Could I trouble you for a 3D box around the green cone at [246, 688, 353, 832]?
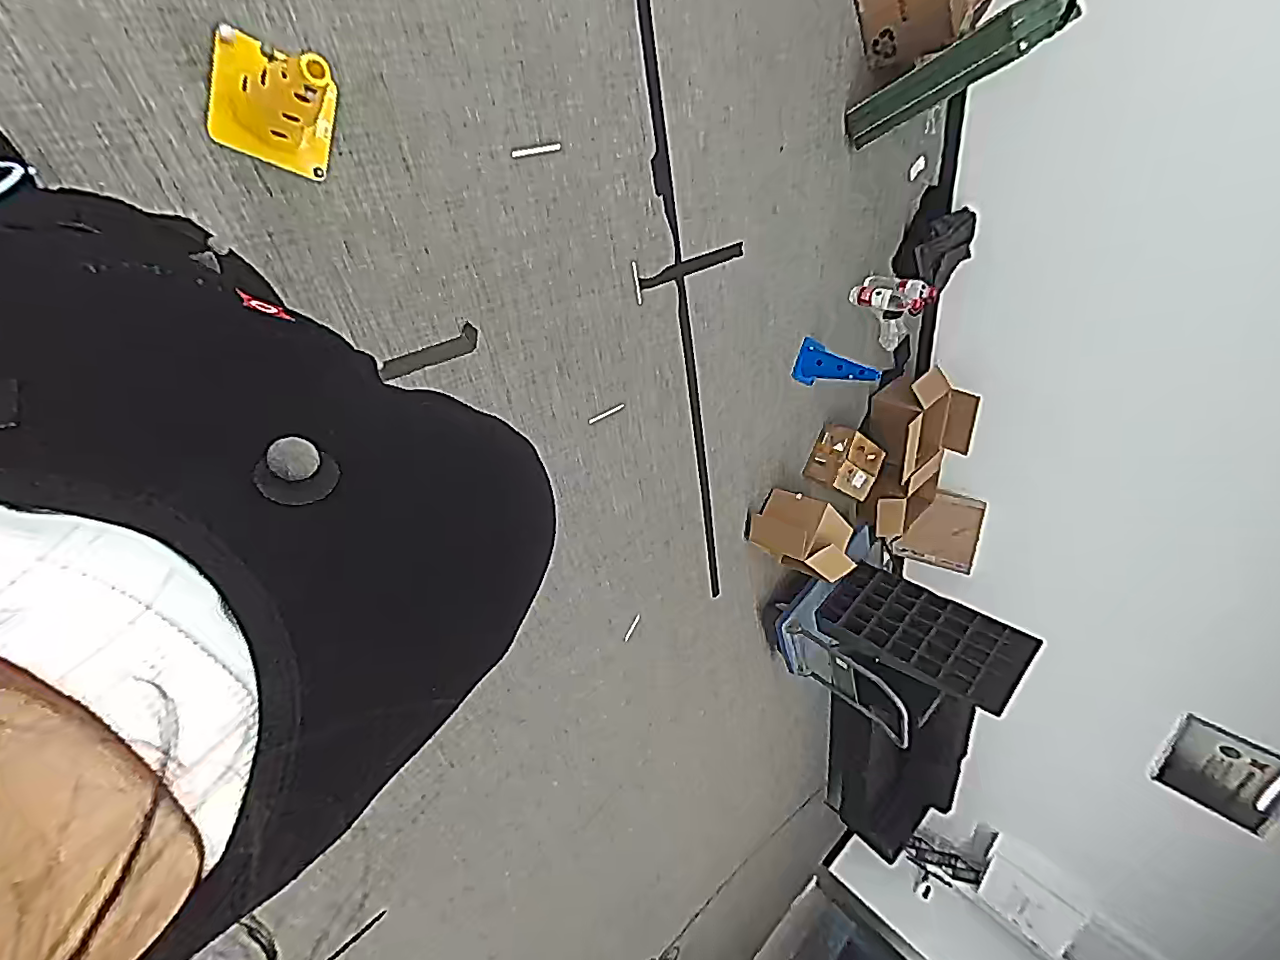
[{"bbox_3d":[-0.835,0.747,1.390,0.202,0.368,0.200,-44,132,-19],"label":"green cone"}]
